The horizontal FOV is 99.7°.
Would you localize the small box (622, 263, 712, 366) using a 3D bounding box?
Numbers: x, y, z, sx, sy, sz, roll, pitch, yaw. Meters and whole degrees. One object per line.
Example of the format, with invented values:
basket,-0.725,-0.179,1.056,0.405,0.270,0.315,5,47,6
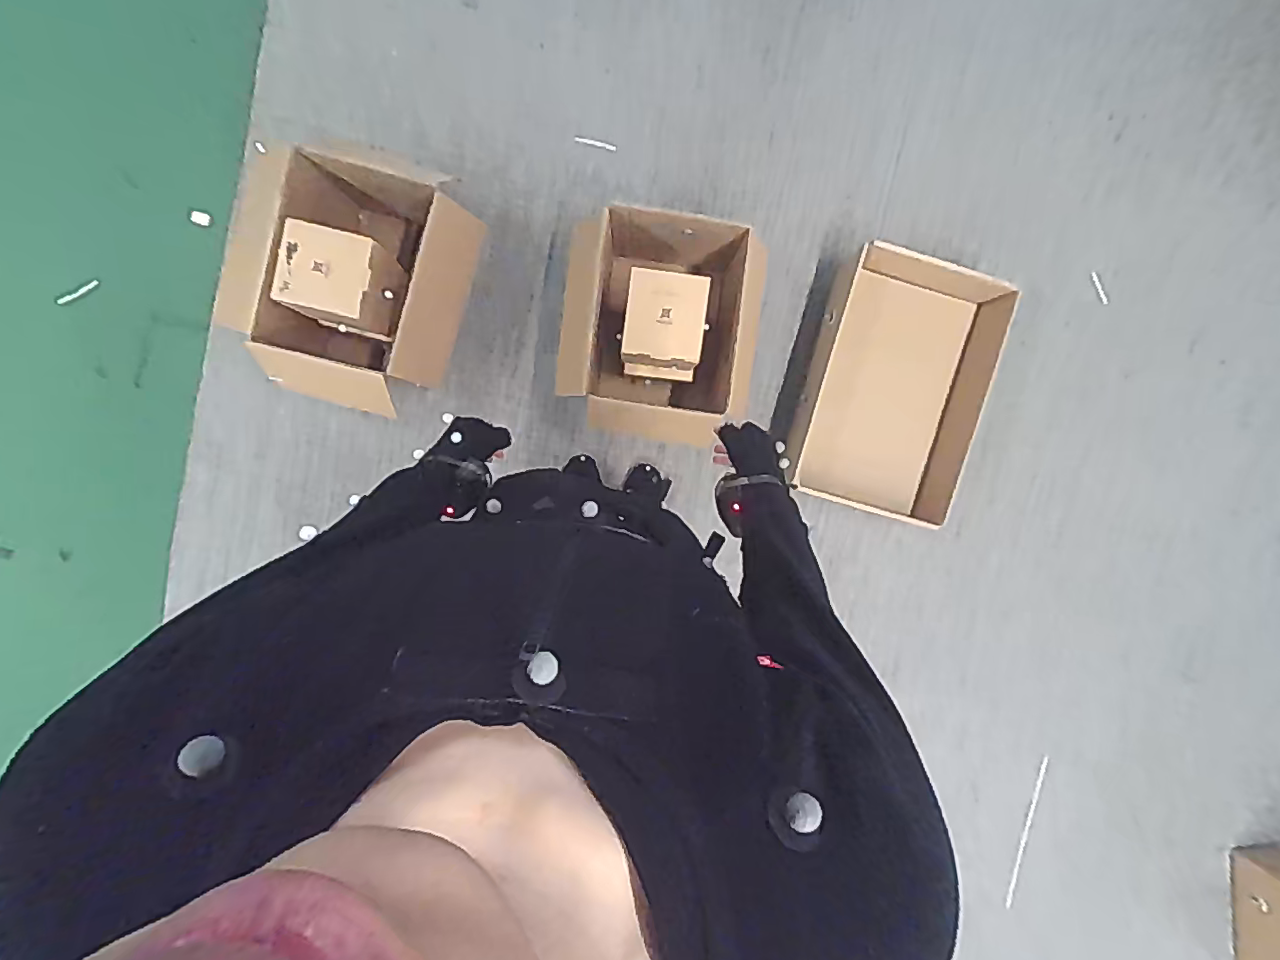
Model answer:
small box,0.053,-0.351,1.181,0.168,0.176,0.179,7,95,-3
